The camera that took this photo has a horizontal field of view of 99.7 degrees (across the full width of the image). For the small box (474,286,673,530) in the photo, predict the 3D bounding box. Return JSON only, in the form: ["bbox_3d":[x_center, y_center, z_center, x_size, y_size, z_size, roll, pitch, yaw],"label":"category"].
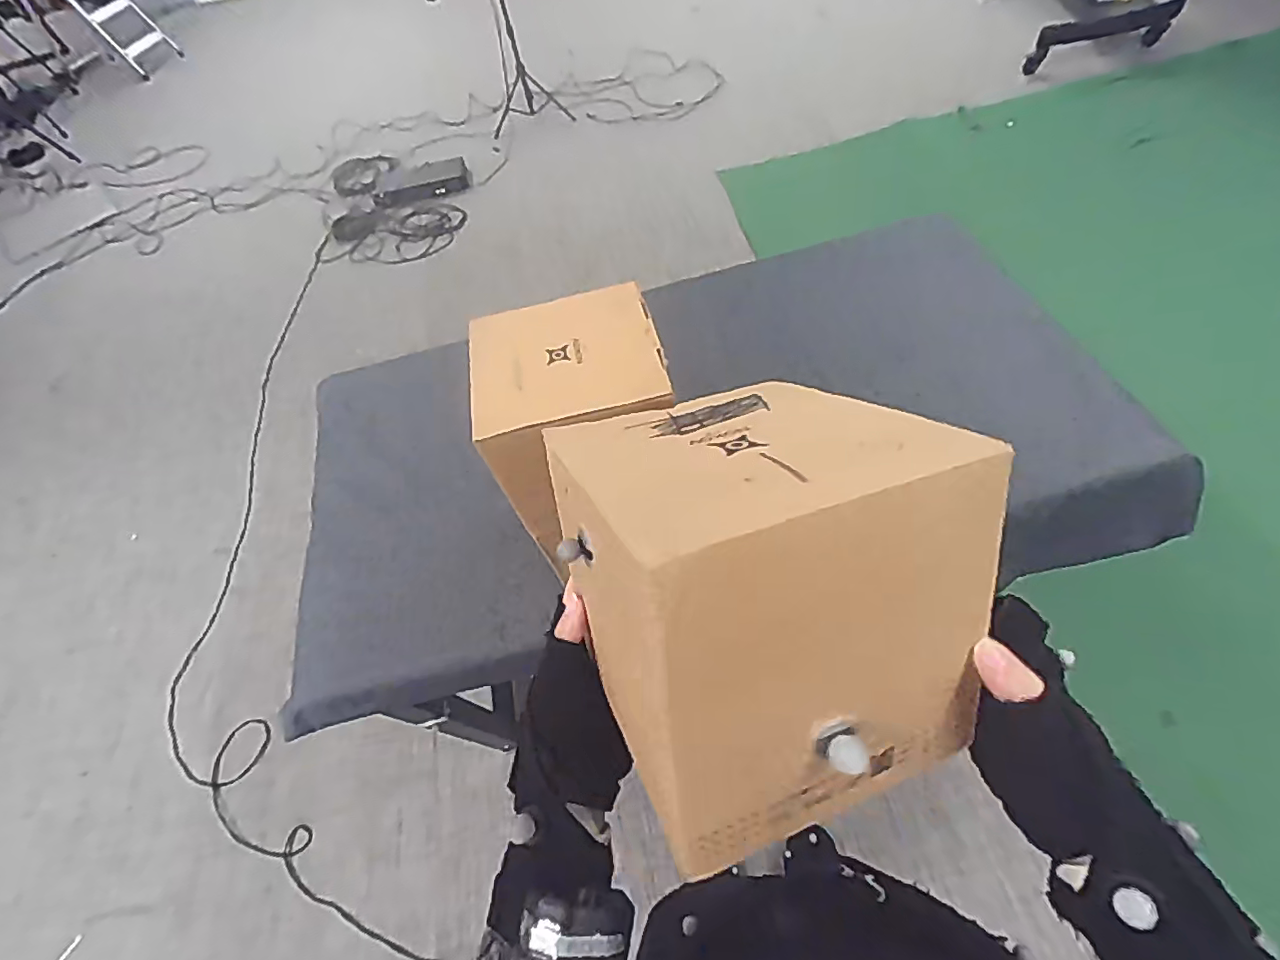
[{"bbox_3d":[-0.061,-0.070,0.574,0.179,0.176,0.168,-14,54,0],"label":"small box"}]

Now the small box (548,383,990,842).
[{"bbox_3d":[0.056,0.052,0.315,0.168,0.176,0.179,-16,24,-18],"label":"small box"}]
